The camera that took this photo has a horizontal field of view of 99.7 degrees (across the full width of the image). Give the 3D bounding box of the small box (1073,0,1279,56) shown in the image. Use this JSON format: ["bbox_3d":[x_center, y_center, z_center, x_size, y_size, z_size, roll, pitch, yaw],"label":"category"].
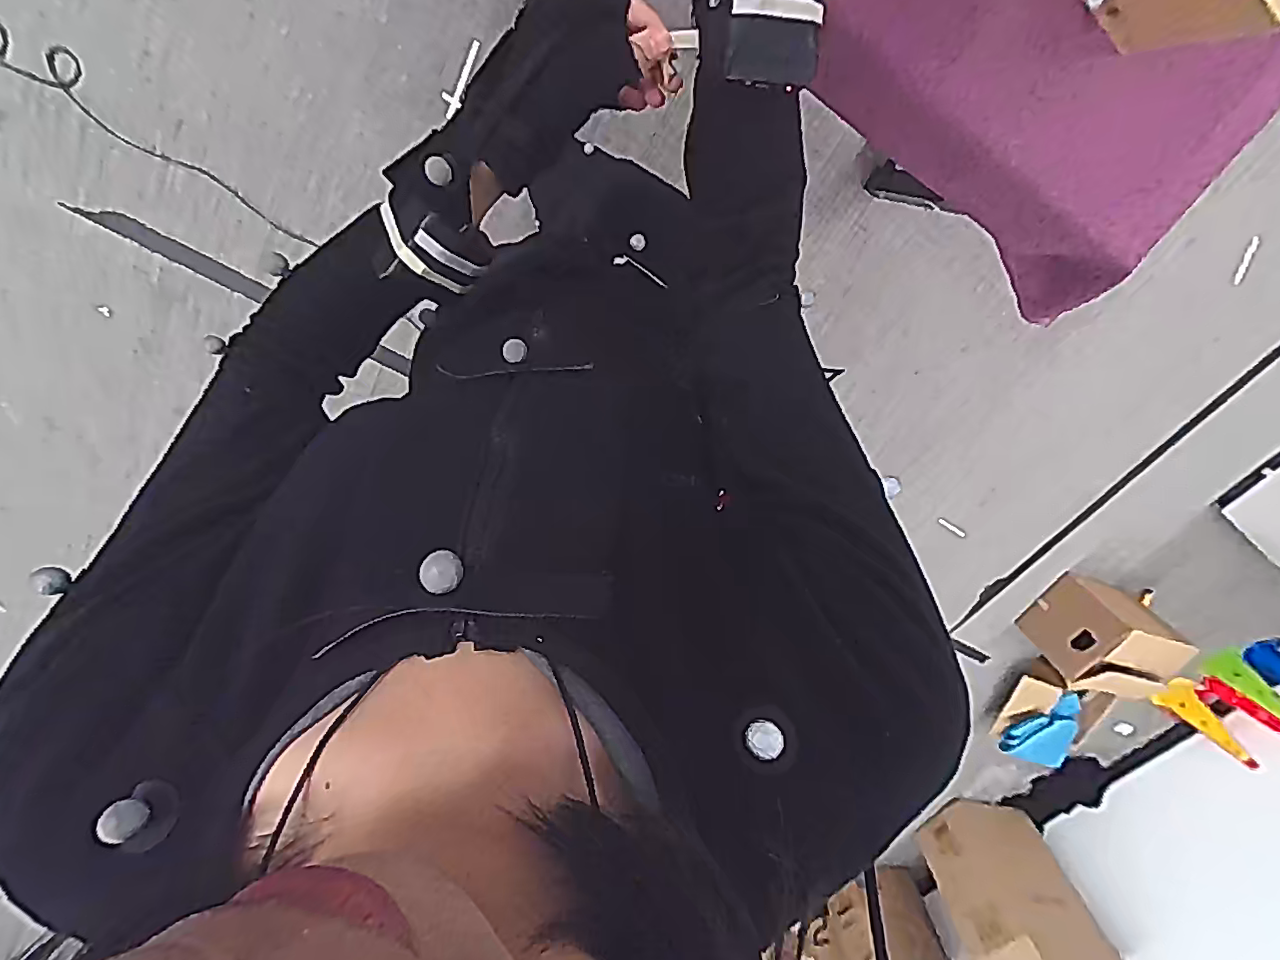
[{"bbox_3d":[0.528,-0.527,0.479,0.168,0.176,0.179,26,115,-21],"label":"small box"}]
